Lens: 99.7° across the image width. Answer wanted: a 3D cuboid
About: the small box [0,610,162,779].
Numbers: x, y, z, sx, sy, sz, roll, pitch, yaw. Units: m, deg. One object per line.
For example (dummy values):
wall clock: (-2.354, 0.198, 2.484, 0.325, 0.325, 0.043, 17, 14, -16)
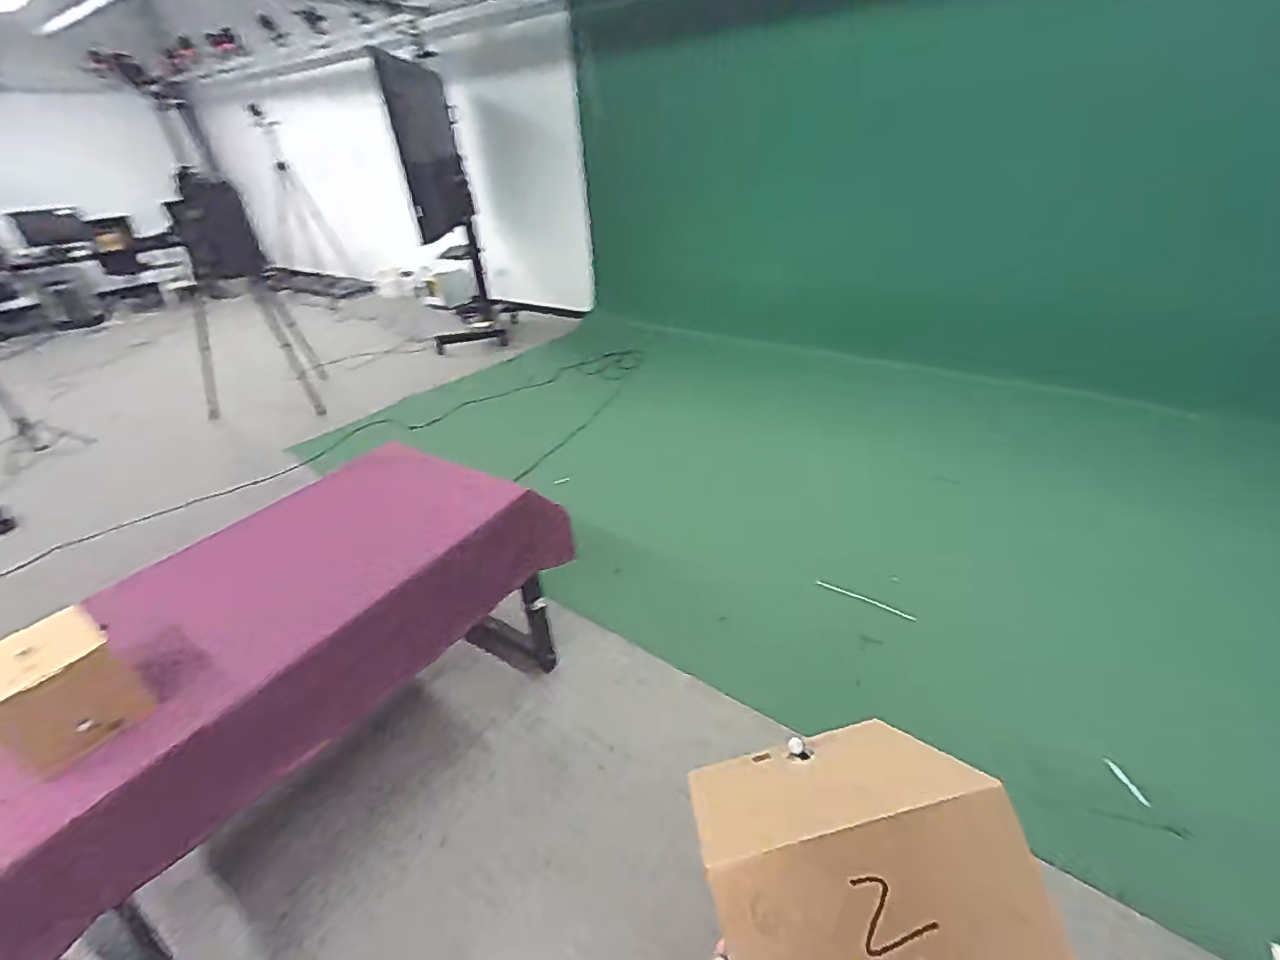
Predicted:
small box: (-0.966, 0.357, 0.908, 0.179, 0.176, 0.168, 17, 38, 30)
